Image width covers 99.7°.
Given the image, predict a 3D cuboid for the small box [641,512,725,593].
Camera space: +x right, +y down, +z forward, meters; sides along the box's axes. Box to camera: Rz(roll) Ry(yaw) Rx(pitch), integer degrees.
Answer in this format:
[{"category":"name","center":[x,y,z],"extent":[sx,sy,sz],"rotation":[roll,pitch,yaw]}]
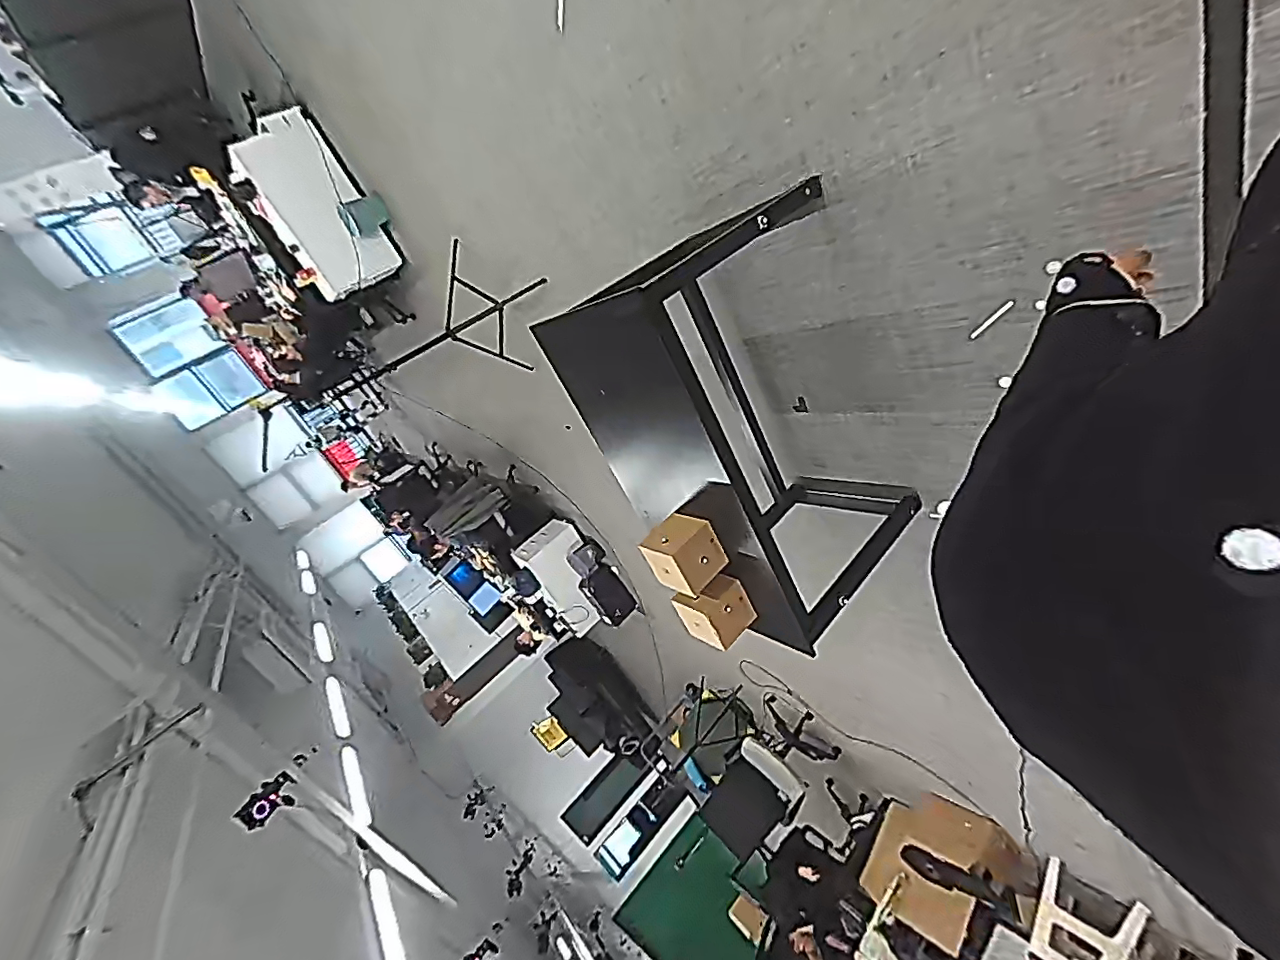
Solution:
[{"category":"small box","center":[0.141,0.216,1.670],"extent":[0.179,0.176,0.168],"rotation":[10,134,55]}]

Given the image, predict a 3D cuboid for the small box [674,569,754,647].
[{"category":"small box","center":[0.250,0.406,1.766],"extent":[0.179,0.176,0.168],"rotation":[10,134,57]}]
